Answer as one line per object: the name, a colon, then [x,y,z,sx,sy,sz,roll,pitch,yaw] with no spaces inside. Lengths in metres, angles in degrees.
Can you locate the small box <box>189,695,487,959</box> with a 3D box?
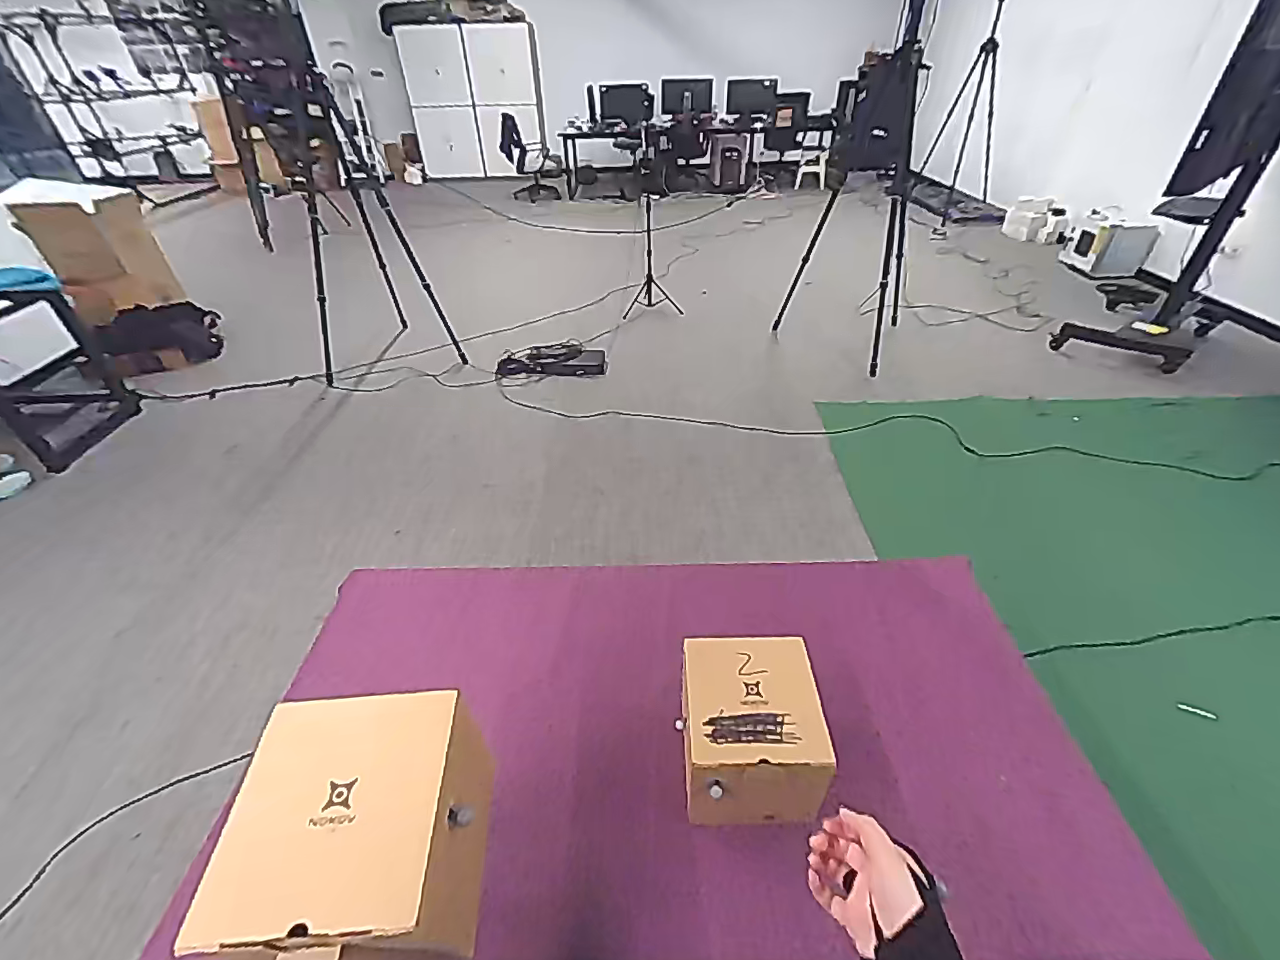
small box: [-0.246,0.325,0.501,0.168,0.176,0.179,-3,44,-3]
